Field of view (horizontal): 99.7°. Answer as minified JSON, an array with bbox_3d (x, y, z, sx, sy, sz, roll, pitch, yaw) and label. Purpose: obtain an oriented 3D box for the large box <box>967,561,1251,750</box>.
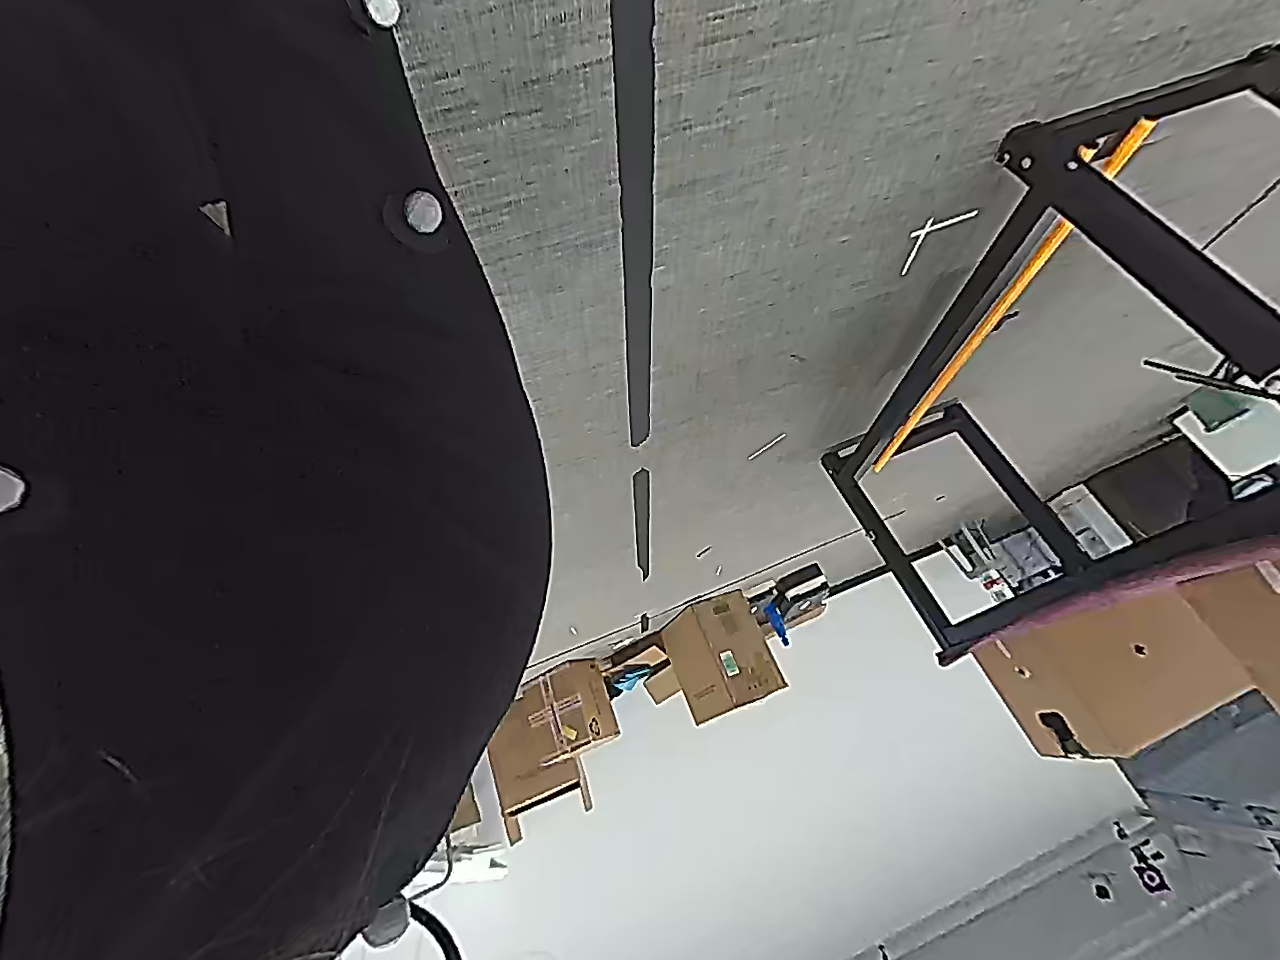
[{"bbox_3d":[1.188,0.466,1.425,0.408,0.320,0.320,-22,156,-9],"label":"large box"}]
